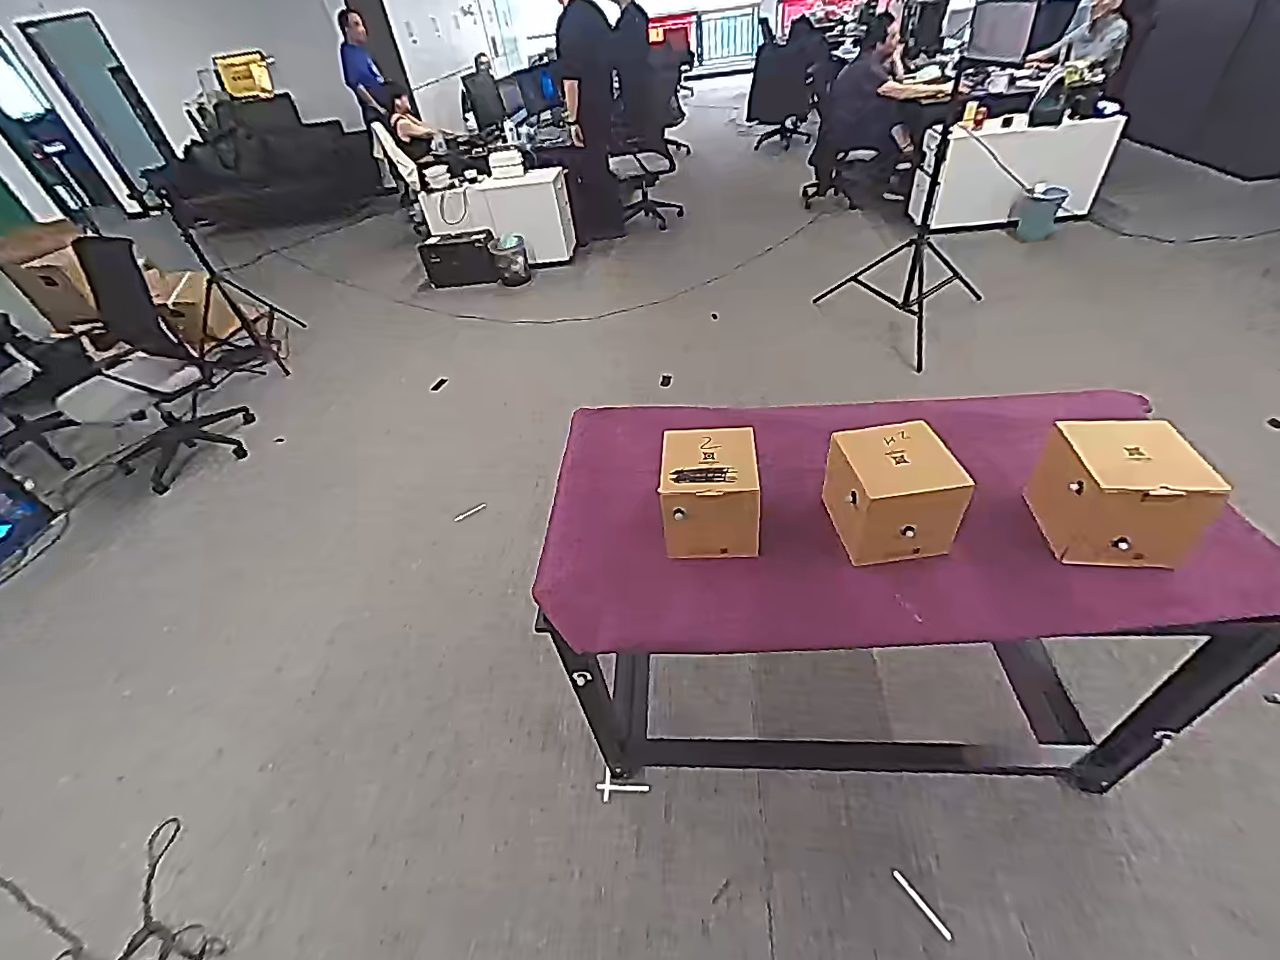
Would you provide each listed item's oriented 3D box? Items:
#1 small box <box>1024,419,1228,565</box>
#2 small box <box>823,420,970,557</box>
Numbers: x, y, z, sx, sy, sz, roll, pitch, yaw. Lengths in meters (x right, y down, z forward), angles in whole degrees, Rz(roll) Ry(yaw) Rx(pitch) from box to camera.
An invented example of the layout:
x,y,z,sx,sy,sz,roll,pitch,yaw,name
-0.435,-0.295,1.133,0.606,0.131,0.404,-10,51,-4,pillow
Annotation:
x,y,z,sx,sy,sz,roll,pitch,yaw,name
0.776,0.016,0.893,0.168,0.176,0.179,0,41,11,small box
0.435,0.021,0.949,0.168,0.176,0.179,-8,41,1,small box
